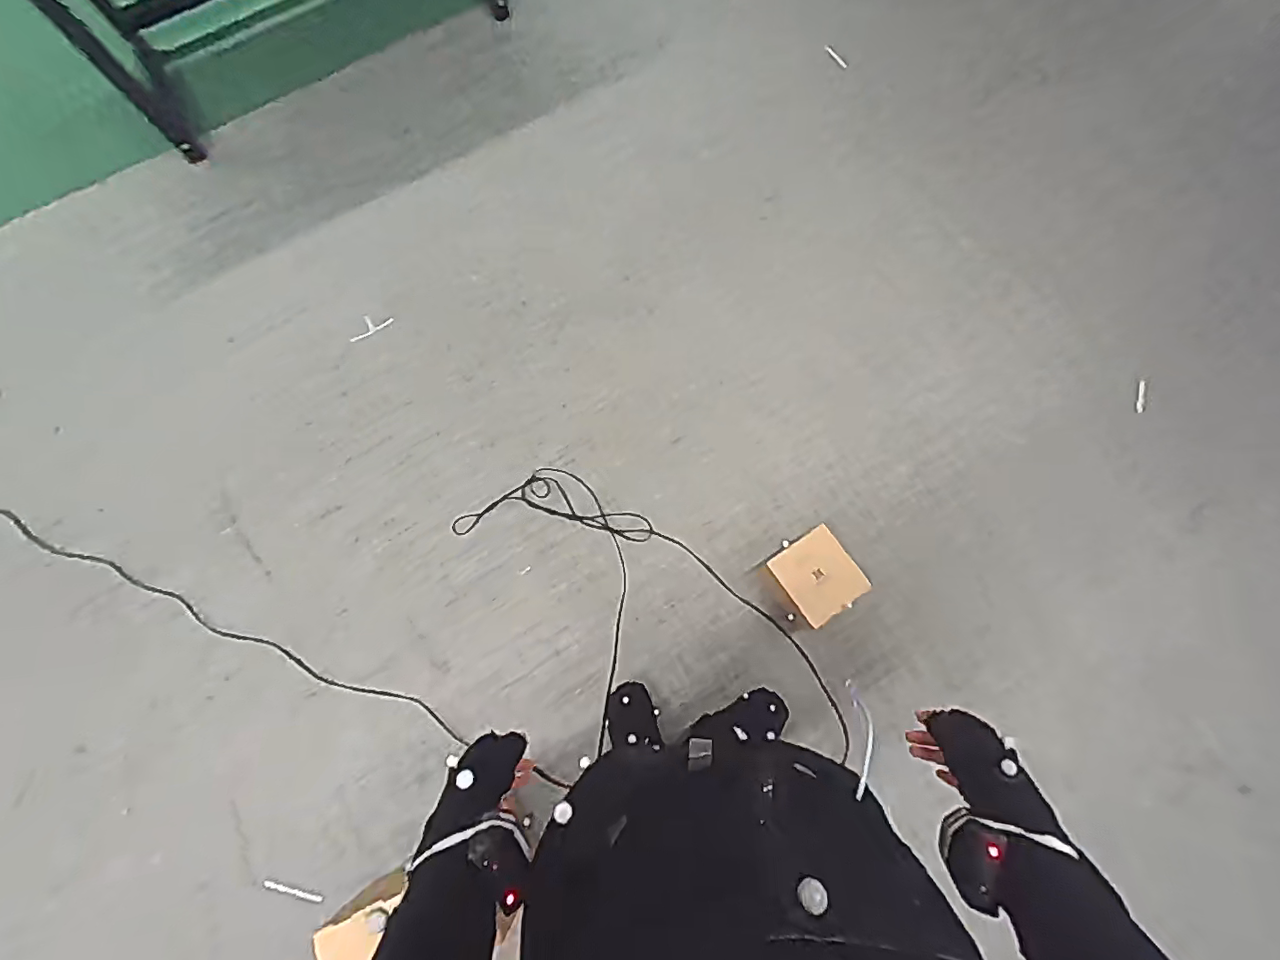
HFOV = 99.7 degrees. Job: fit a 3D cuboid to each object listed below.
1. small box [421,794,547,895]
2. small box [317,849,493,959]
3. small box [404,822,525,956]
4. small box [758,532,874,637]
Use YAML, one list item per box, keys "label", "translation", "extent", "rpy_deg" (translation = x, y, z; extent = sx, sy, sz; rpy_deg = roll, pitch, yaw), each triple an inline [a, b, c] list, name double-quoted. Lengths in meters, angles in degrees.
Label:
- label: "small box"
  translation: [-0.321, 0.793, 1.137]
  extent: [0.168, 0.176, 0.179]
  rpy_deg: [-32, 74, -4]
- label: "small box"
  translation: [-0.343, 0.711, 0.819]
  extent: [0.168, 0.176, 0.179]
  rpy_deg: [-23, 74, -4]
- label: "small box"
  translation: [-0.329, 0.753, 0.975]
  extent: [0.168, 0.176, 0.179]
  rpy_deg: [-28, 76, -6]
- label: "small box"
  translation: [0.402, 0.247, 1.267]
  extent: [0.168, 0.176, 0.179]
  rpy_deg: [-32, 75, -8]
